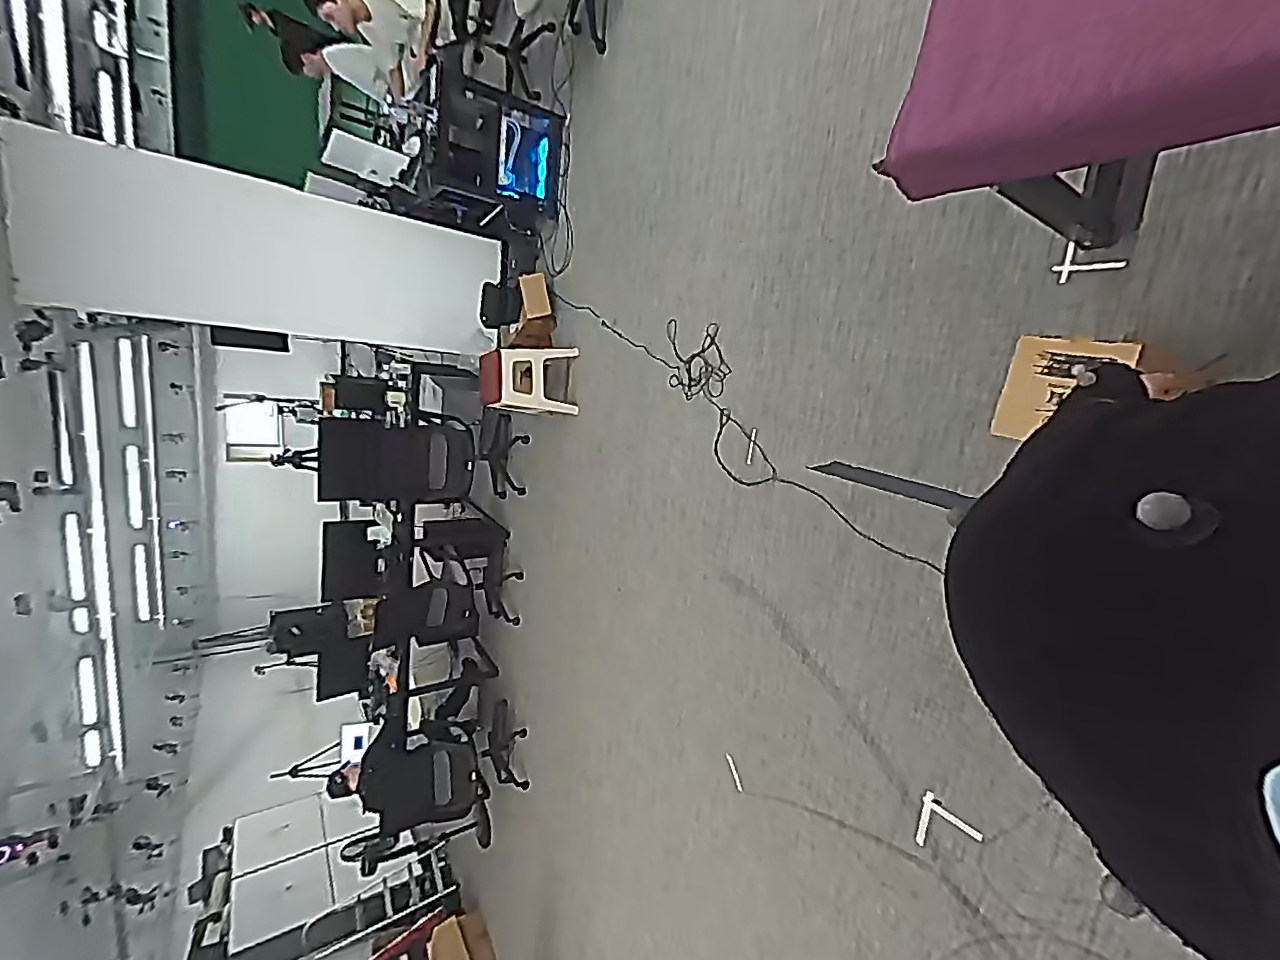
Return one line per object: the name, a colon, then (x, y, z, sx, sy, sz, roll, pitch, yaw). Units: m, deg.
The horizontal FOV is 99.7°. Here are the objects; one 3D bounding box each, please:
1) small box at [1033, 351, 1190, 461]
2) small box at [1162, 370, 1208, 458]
small box: (0.879, -0.138, 1.008, 0.168, 0.176, 0.179, 24, 111, 52)
small box: (1.009, -0.147, 1.109, 0.168, 0.176, 0.179, 31, 116, 50)
